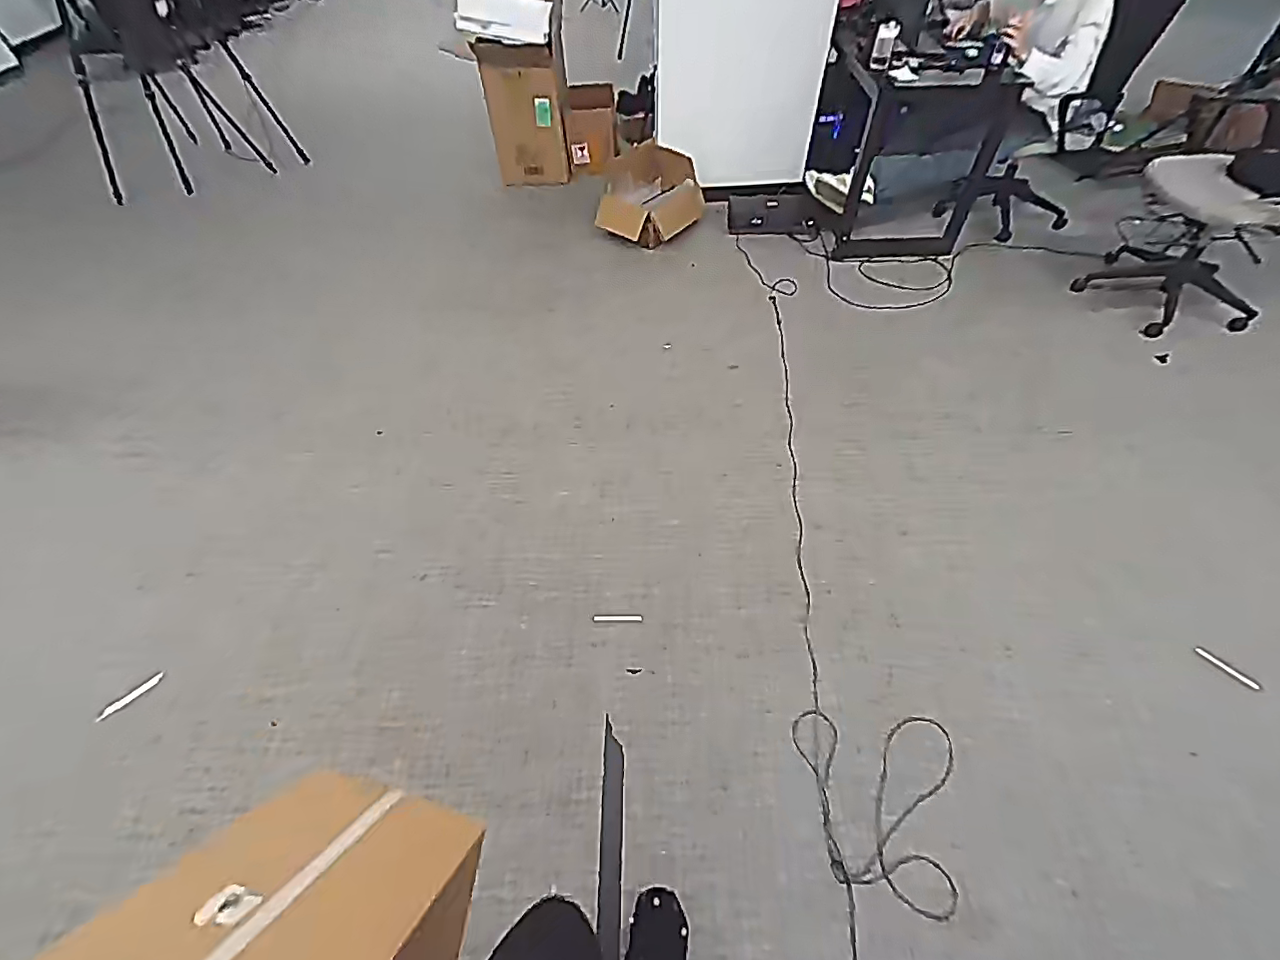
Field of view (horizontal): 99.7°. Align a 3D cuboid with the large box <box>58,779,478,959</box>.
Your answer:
[{"bbox_3d":[-0.462,0.676,0.693,0.320,0.408,0.320,11,90,9],"label":"large box"}]
